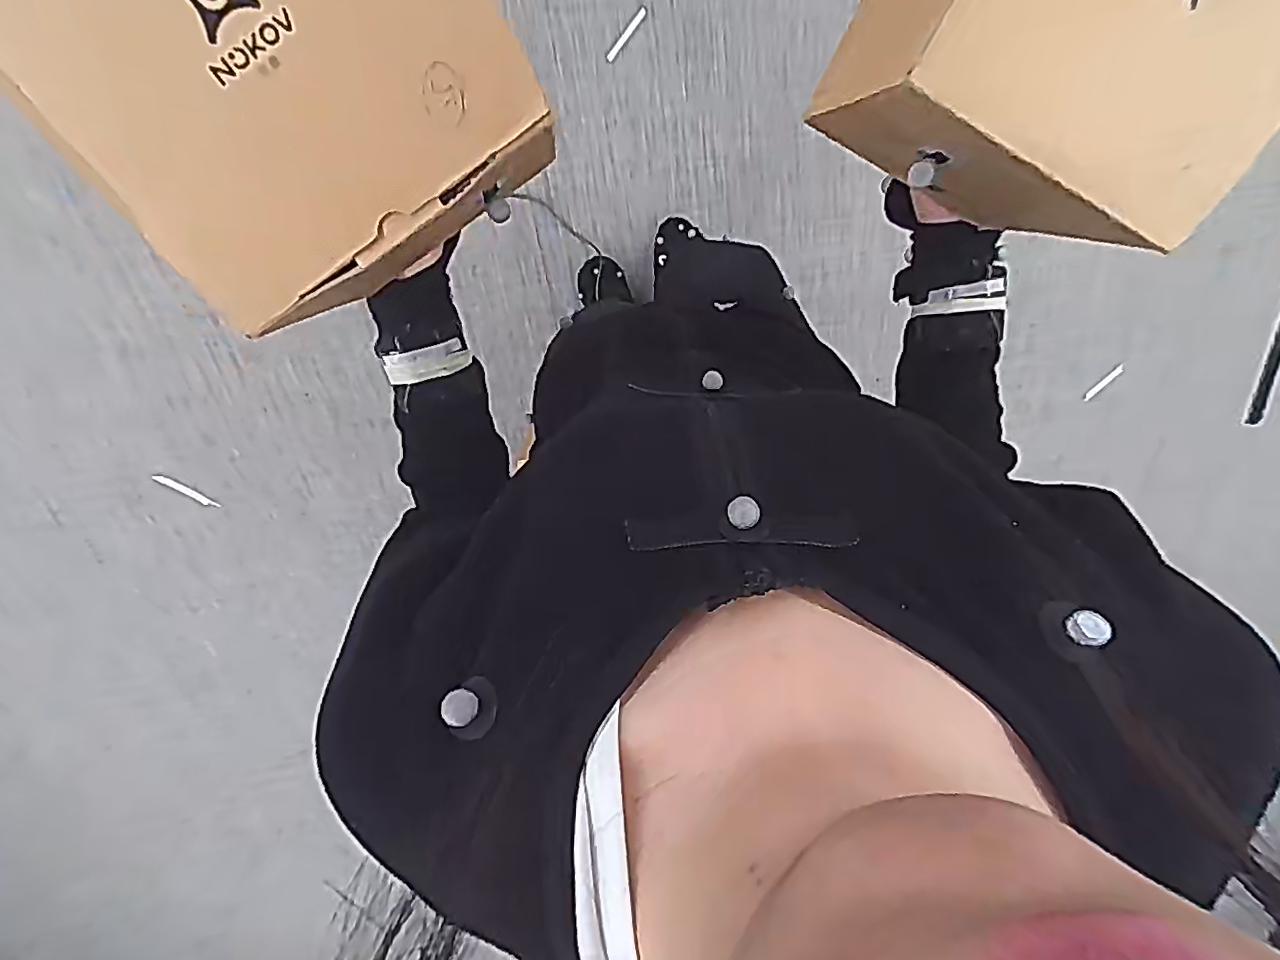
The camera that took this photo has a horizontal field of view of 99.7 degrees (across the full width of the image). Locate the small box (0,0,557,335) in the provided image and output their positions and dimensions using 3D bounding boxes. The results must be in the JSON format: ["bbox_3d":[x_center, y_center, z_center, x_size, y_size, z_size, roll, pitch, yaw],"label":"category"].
[{"bbox_3d":[-0.154,-0.201,0.262,0.168,0.176,0.179,-33,115,6],"label":"small box"}]

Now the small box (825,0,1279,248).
[{"bbox_3d":[0.223,-0.250,0.286,0.168,0.176,0.179,22,115,-12],"label":"small box"}]
